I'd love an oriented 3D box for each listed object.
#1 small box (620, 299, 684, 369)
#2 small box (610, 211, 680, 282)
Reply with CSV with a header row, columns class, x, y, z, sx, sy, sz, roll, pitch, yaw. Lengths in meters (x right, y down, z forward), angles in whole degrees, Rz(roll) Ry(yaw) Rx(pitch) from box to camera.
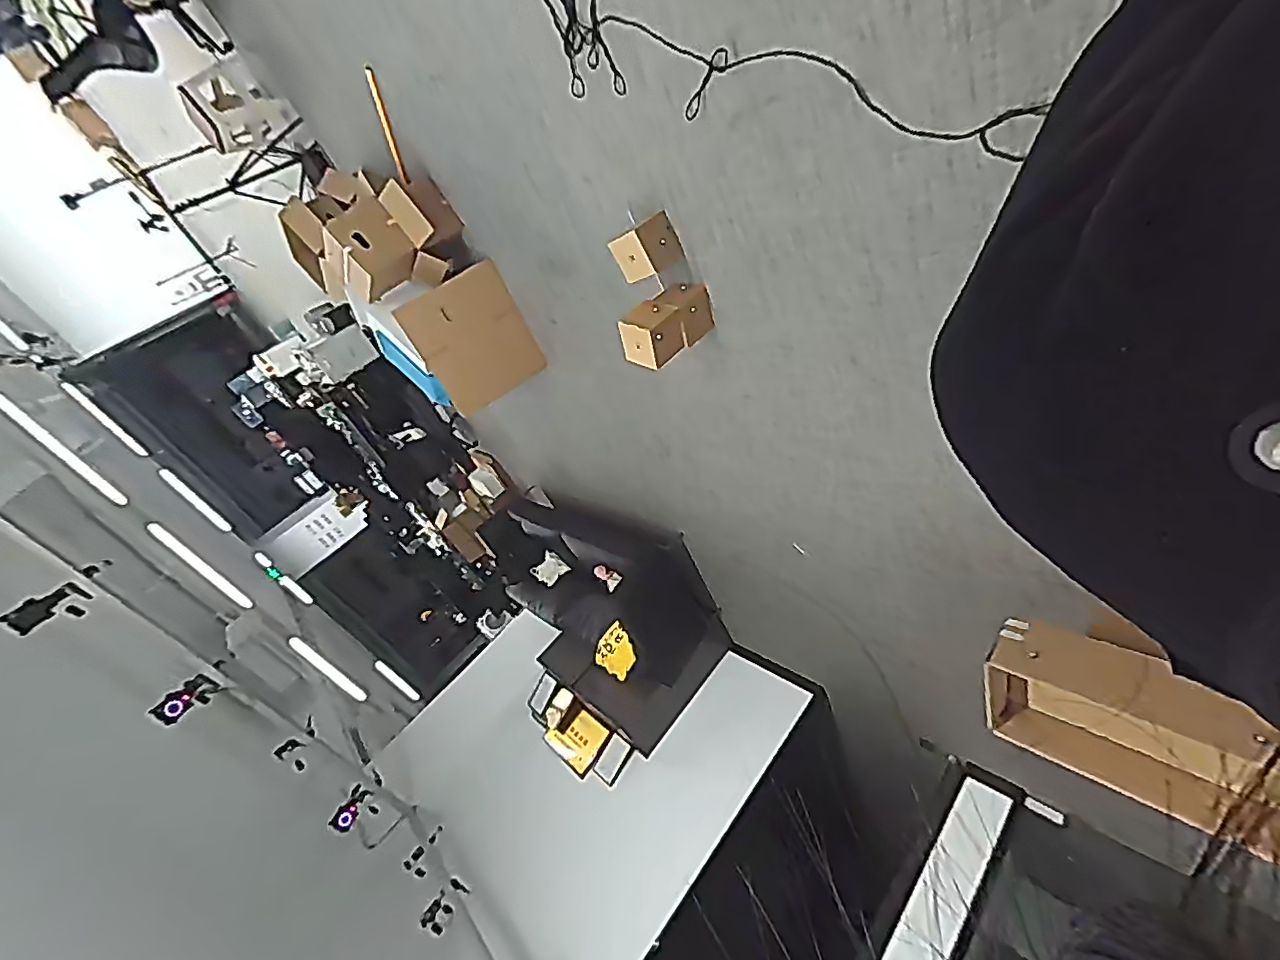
class,x,y,z,sx,sy,sz,roll,pitch,yaw
small box,0.053,-0.559,2.056,0.168,0.176,0.179,28,149,35
small box,0.027,-0.867,2.004,0.179,0.176,0.168,7,136,54
